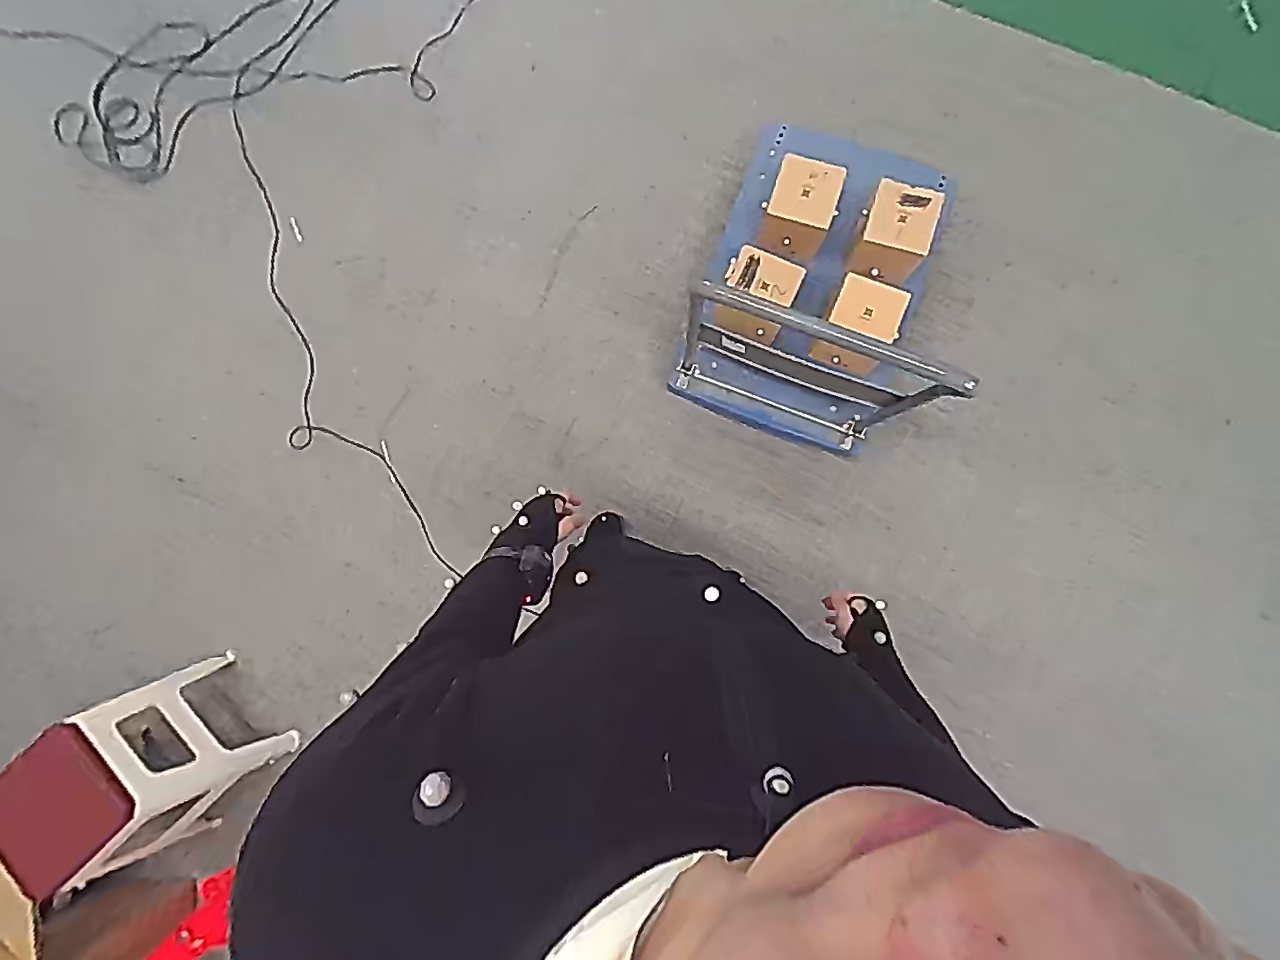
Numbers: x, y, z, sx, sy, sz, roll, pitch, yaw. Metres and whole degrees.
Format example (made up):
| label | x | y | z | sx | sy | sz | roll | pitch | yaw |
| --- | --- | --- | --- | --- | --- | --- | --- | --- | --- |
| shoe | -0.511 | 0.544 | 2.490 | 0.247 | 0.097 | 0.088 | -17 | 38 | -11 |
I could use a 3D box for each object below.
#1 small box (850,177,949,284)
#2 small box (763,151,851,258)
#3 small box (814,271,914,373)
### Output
| label | x | y | z | sx | sy | sz | roll | pitch | yaw |
| --- | --- | --- | --- | --- | --- | --- | --- | --- | --- |
| small box | 0.680 | -0.657 | 1.436 | 0.168 | 0.176 | 0.179 | 18 | 87 | 6 |
| small box | 0.440 | -0.734 | 1.459 | 0.168 | 0.176 | 0.179 | 19 | 86 | 4 |
| small box | 0.578 | -0.406 | 1.420 | 0.168 | 0.176 | 0.179 | 23 | 87 | 5 |
